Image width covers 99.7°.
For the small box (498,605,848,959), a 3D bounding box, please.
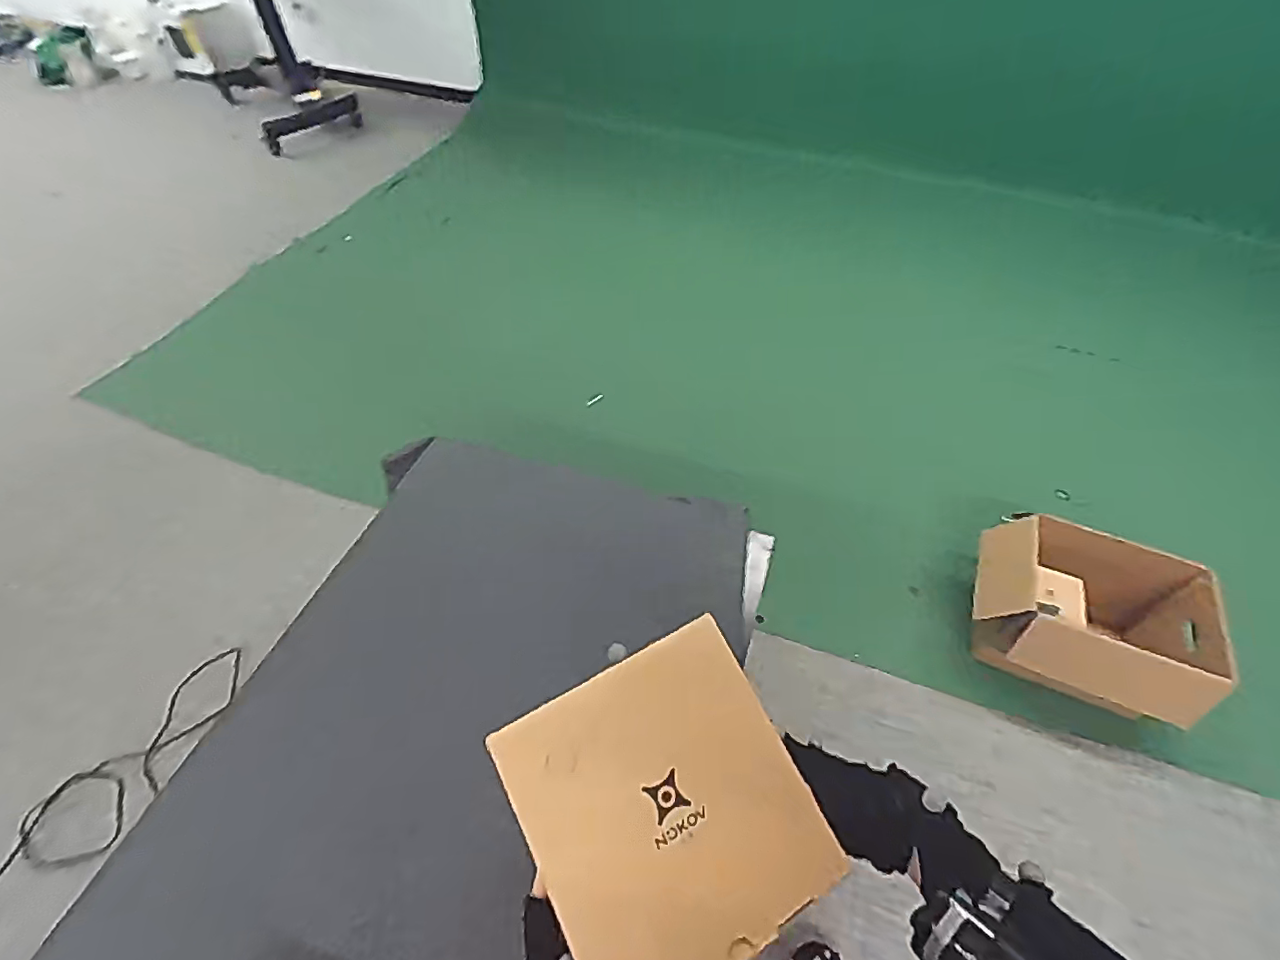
[{"bbox_3d":[0.006,0.218,0.402,0.168,0.176,0.179,-23,74,-18],"label":"small box"}]
